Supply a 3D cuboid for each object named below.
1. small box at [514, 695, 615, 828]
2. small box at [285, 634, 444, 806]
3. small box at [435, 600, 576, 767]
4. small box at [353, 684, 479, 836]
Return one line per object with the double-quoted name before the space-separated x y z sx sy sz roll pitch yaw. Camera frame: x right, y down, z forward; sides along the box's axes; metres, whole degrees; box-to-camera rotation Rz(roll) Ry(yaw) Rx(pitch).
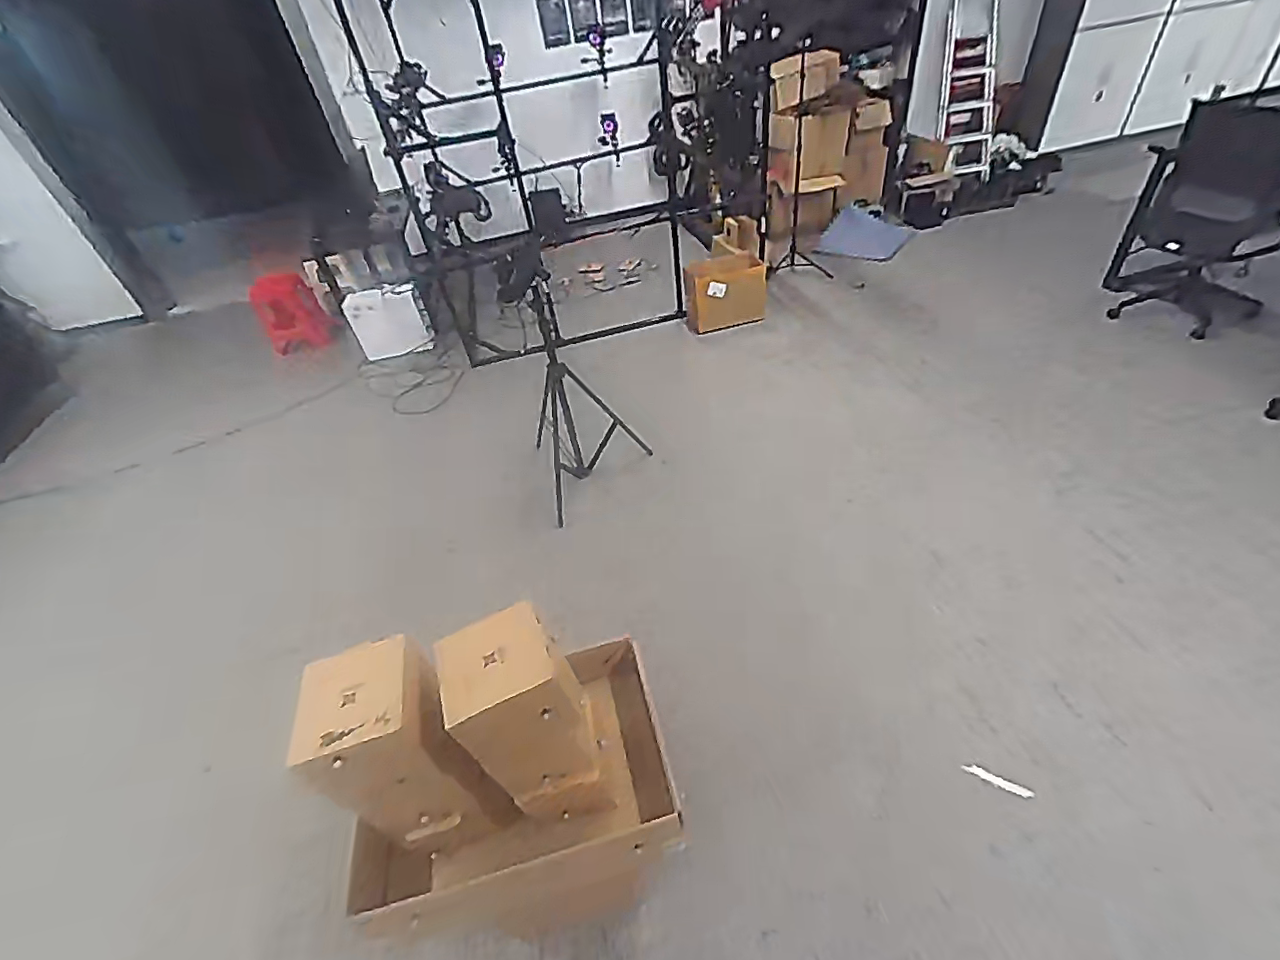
"small box" -0.156 0.582 1.117 0.168 0.176 0.179 -15 42 -1
"small box" -0.433 0.391 0.885 0.168 0.176 0.179 -17 41 -6
"small box" -0.218 0.341 0.905 0.179 0.176 0.168 -23 42 -9
"small box" -0.405 0.513 0.995 0.168 0.176 0.179 -16 42 -7
